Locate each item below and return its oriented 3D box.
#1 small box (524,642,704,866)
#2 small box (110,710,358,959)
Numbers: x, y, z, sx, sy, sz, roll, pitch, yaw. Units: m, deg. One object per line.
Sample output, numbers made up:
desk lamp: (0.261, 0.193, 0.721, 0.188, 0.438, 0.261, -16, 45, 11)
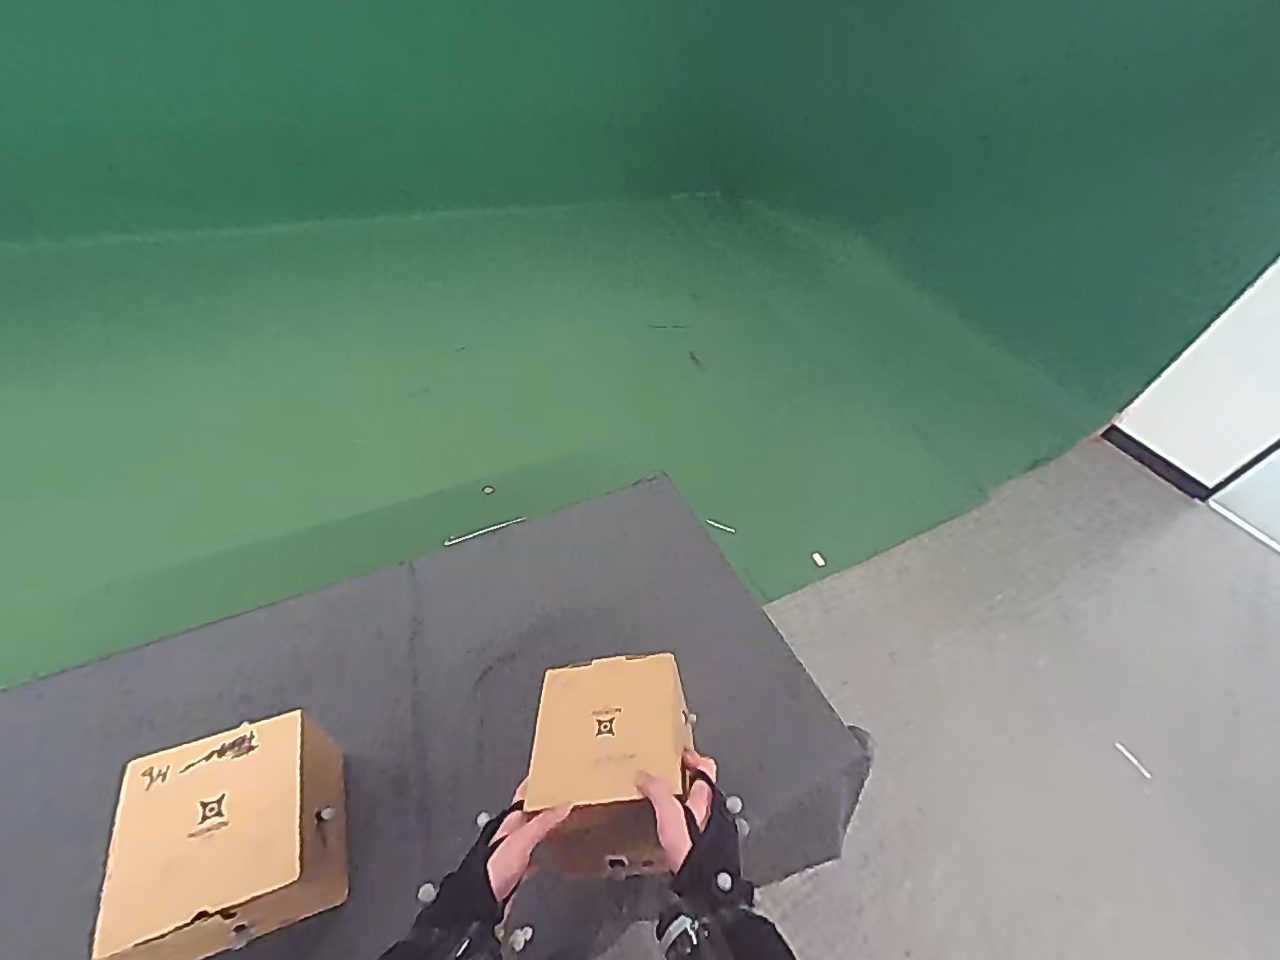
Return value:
small box: (-0.019, 0.323, 0.644, 0.168, 0.176, 0.179, -9, 33, 8)
small box: (-0.436, 0.398, 0.611, 0.168, 0.176, 0.179, -16, 52, -19)
